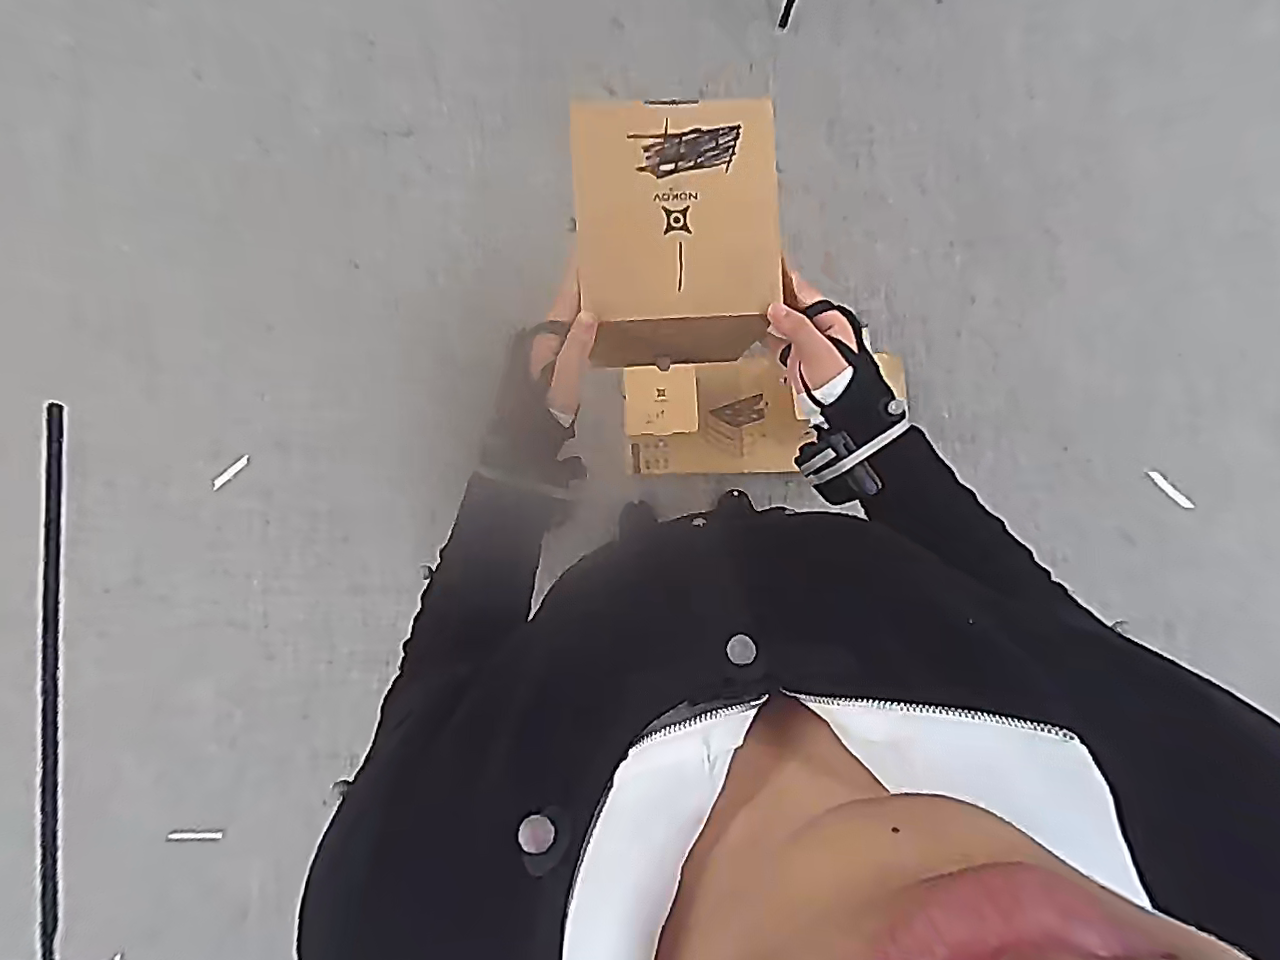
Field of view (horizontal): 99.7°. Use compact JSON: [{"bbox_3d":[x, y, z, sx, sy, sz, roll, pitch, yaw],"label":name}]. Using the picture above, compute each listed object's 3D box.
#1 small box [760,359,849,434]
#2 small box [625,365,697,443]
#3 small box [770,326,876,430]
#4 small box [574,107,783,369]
[{"bbox_3d":[0.397,-0.206,1.326,0.168,0.176,0.179,-4,88,0],"label":"small box"},{"bbox_3d":[0.048,-0.191,1.329,0.168,0.176,0.179,-2,88,1],"label":"small box"},{"bbox_3d":[0.384,-0.212,1.164,0.168,0.176,0.179,-7,88,2],"label":"small box"},{"bbox_3d":[0.026,-0.214,0.518,0.168,0.176,0.179,-4,90,-3],"label":"small box"}]
